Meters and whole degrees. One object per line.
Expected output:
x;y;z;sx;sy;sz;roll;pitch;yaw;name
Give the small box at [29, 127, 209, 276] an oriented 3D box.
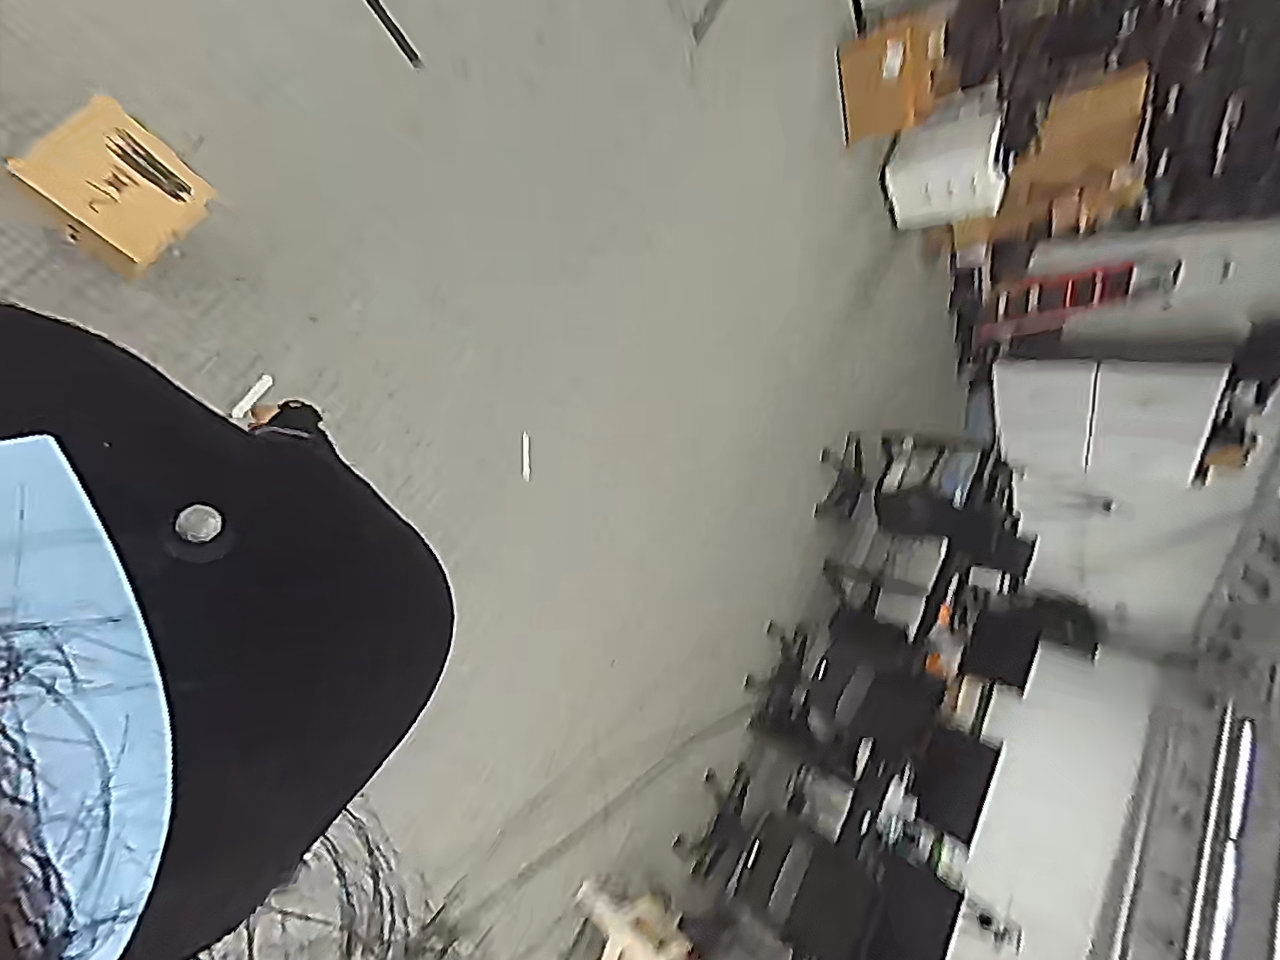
-0.955;-0.502;0.995;0.179;0.176;0.168;-58;135;-19;small box
